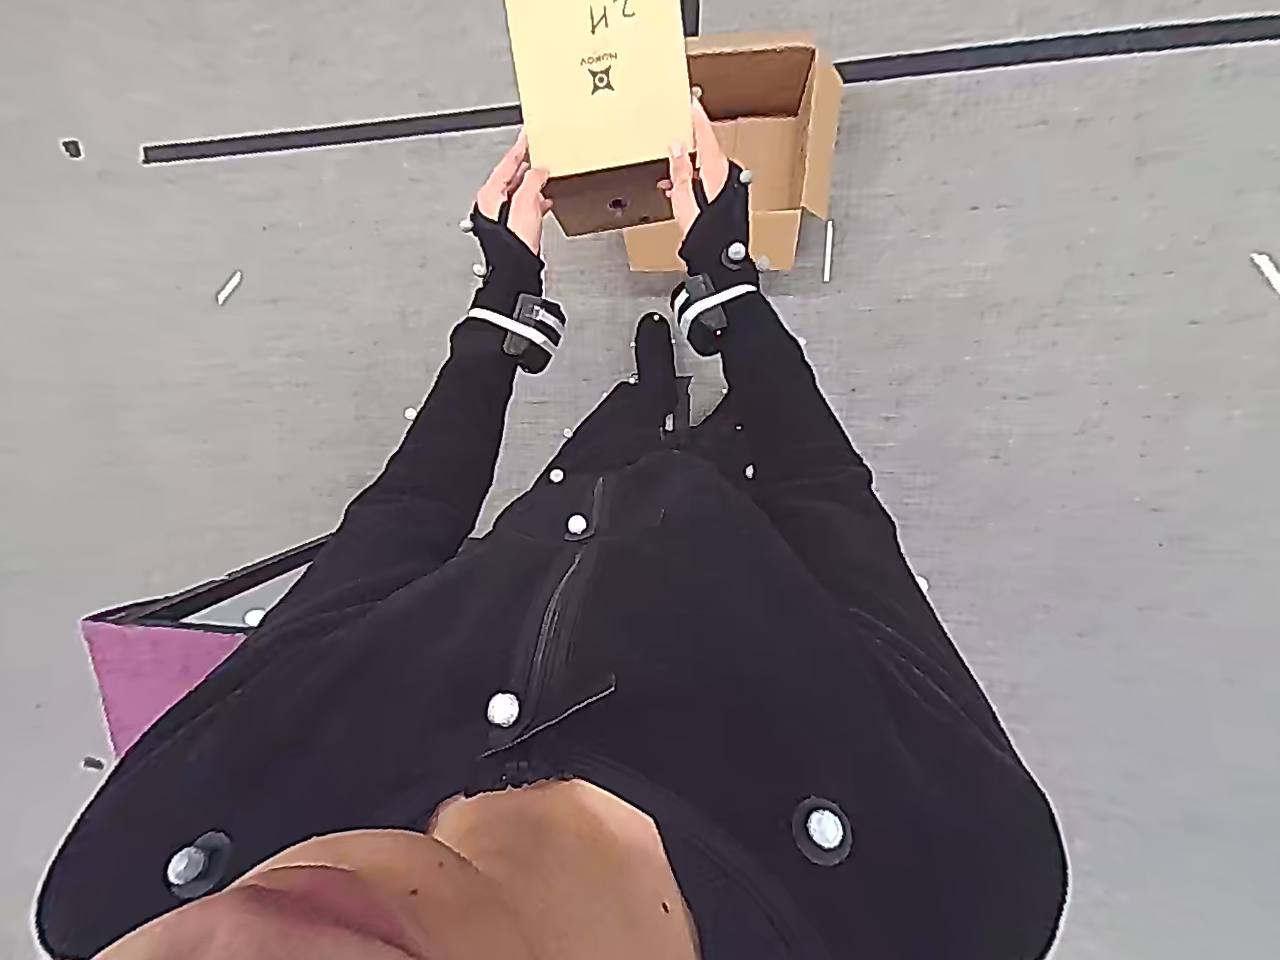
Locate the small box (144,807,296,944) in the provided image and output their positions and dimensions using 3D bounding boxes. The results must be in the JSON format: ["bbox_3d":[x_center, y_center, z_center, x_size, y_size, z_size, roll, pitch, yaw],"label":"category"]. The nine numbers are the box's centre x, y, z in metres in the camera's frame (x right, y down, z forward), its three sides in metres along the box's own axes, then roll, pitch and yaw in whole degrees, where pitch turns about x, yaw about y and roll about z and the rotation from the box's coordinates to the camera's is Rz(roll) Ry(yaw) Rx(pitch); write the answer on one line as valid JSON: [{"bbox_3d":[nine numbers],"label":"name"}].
[{"bbox_3d":[-0.886,0.832,1.155,0.179,0.176,0.168,-4,101,10],"label":"small box"}]

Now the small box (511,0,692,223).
[{"bbox_3d":[-0.031,-0.407,0.606,0.168,0.176,0.179,-7,95,4],"label":"small box"}]
